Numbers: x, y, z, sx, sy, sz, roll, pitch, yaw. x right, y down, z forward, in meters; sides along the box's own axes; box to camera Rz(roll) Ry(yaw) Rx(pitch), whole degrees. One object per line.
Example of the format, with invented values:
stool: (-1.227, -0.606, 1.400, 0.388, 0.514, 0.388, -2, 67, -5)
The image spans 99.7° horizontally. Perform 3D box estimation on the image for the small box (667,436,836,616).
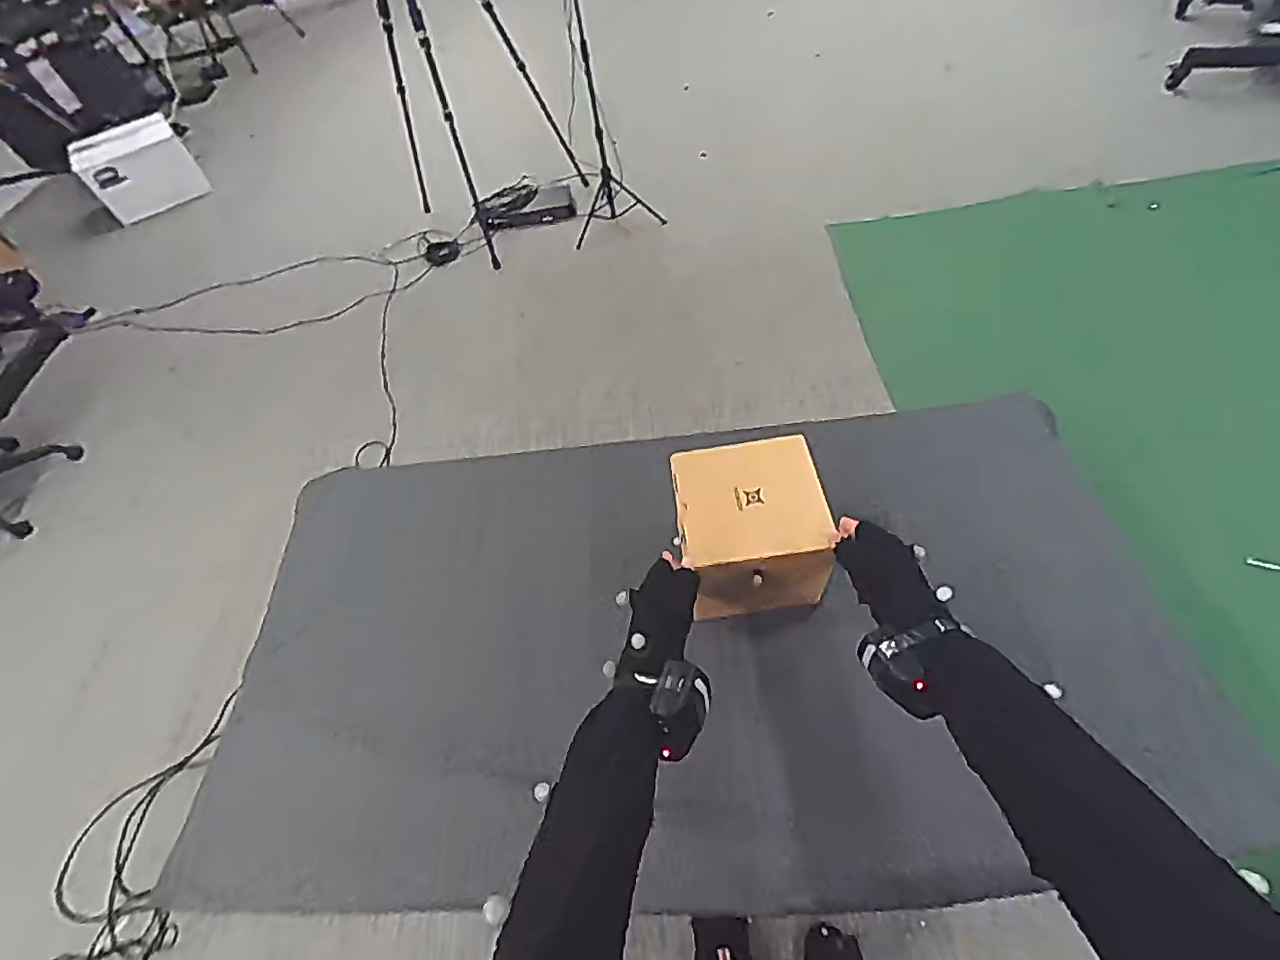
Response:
small box: (0.137, 0.067, 0.717, 0.179, 0.176, 0.168, -10, 55, 4)
